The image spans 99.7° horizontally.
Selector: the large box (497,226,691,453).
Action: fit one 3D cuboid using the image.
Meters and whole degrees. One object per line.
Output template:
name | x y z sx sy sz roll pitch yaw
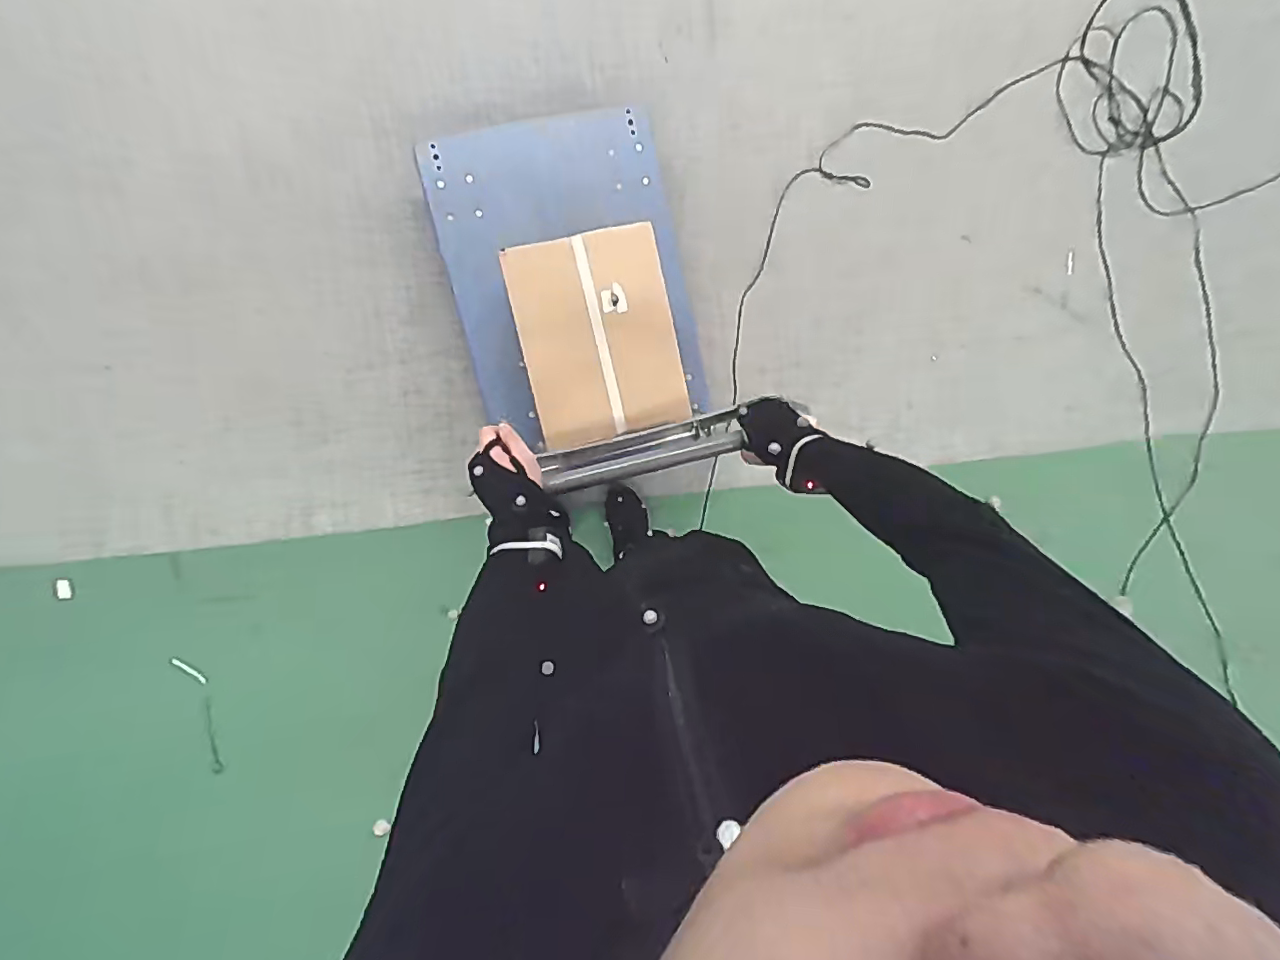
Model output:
large box | -0.104 -0.295 1.235 0.320 0.320 0.408 -14 97 -7
